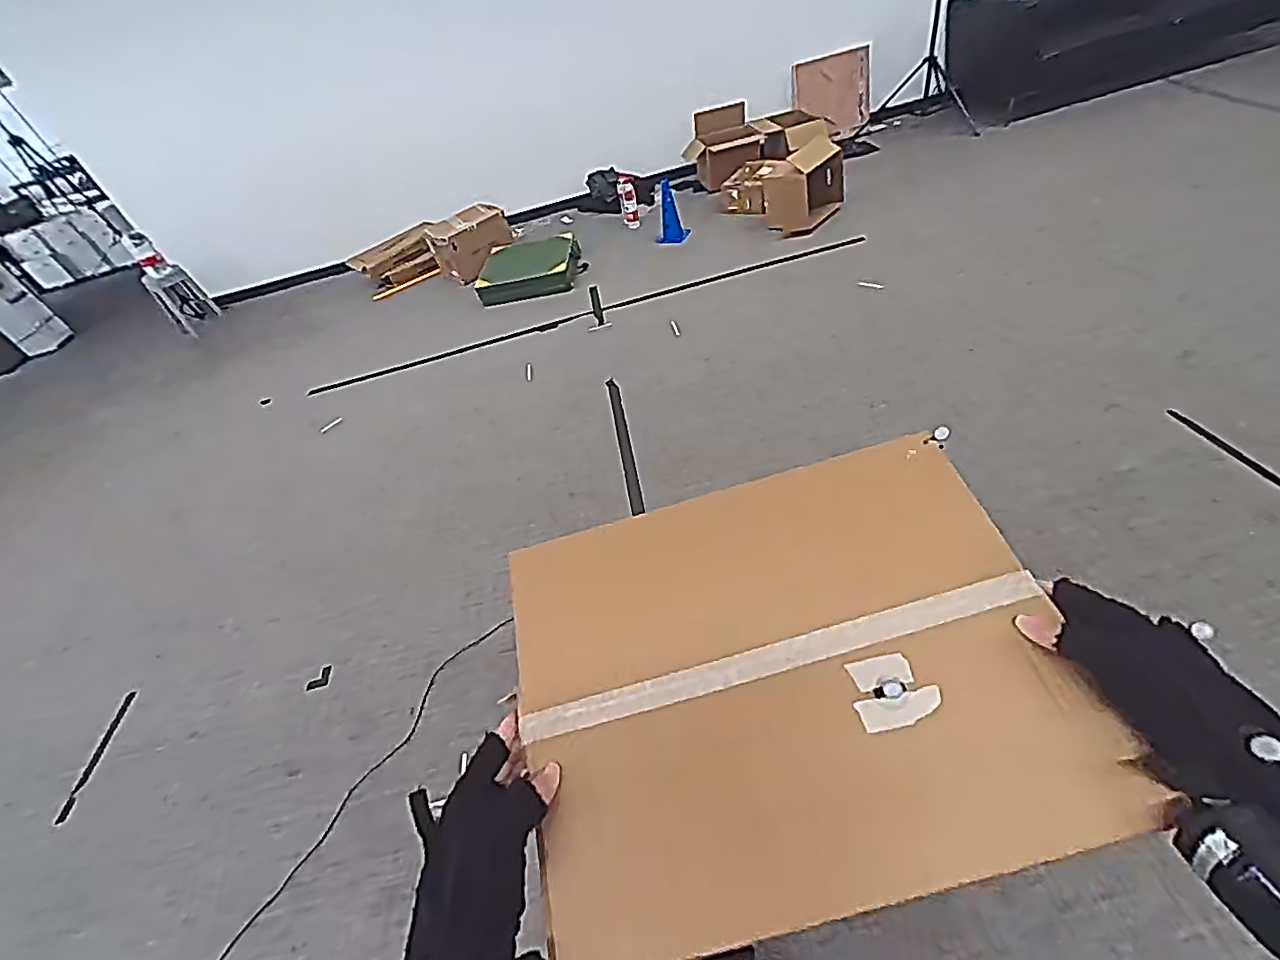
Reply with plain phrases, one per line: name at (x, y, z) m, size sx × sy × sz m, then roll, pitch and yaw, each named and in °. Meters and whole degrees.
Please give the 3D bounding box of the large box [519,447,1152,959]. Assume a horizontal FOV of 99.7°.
large box at (0.132, 0.227, 0.553) m, size 0.408 × 0.320 × 0.320 m, roll -17°, pitch 56°, yaw 1°
